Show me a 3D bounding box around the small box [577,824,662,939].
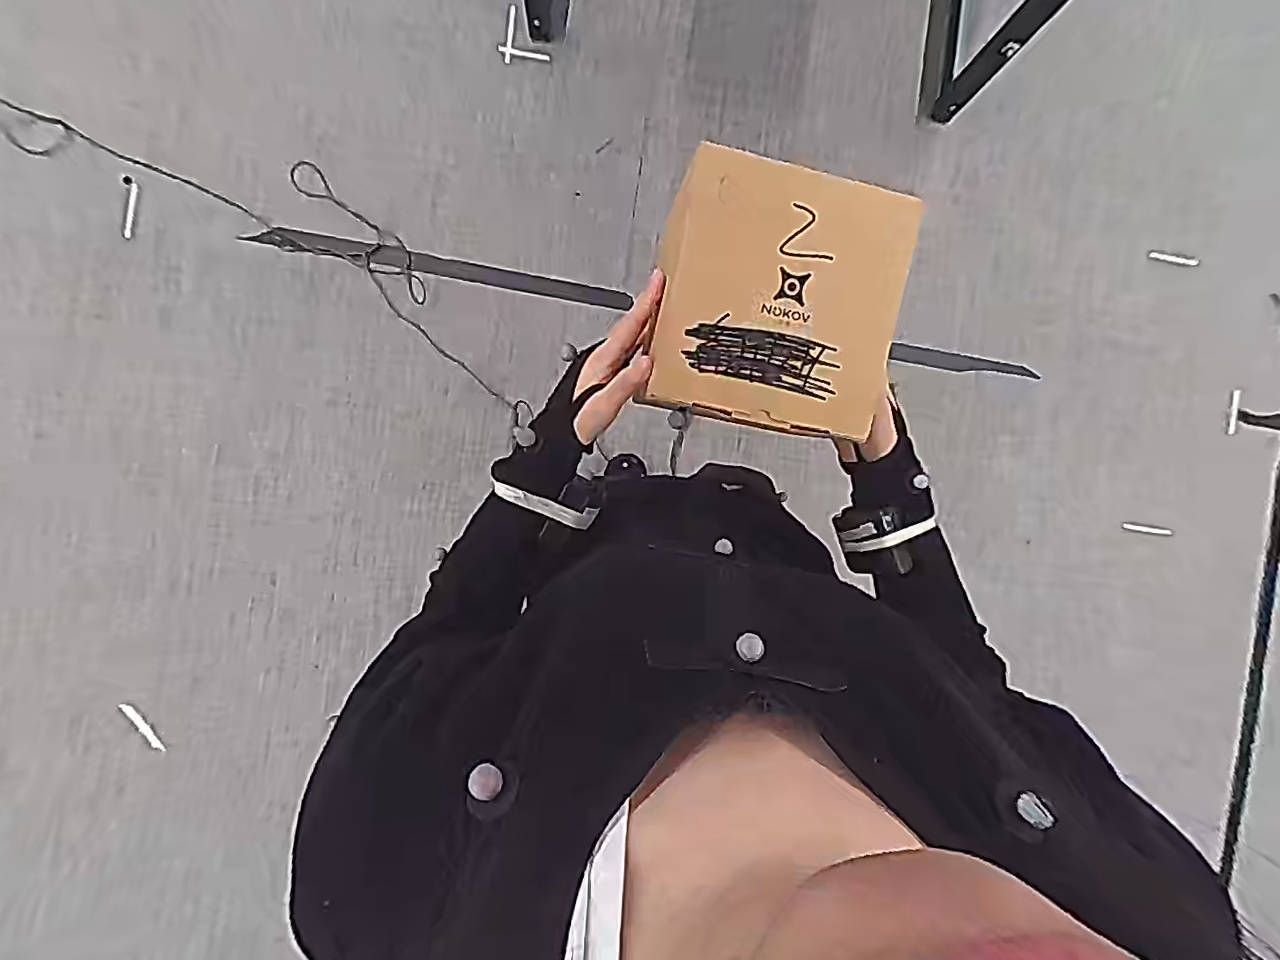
[{"bbox_3d":[-0.057,1.035,1.408,0.179,0.176,0.168,16,89,-6],"label":"small box"}]
